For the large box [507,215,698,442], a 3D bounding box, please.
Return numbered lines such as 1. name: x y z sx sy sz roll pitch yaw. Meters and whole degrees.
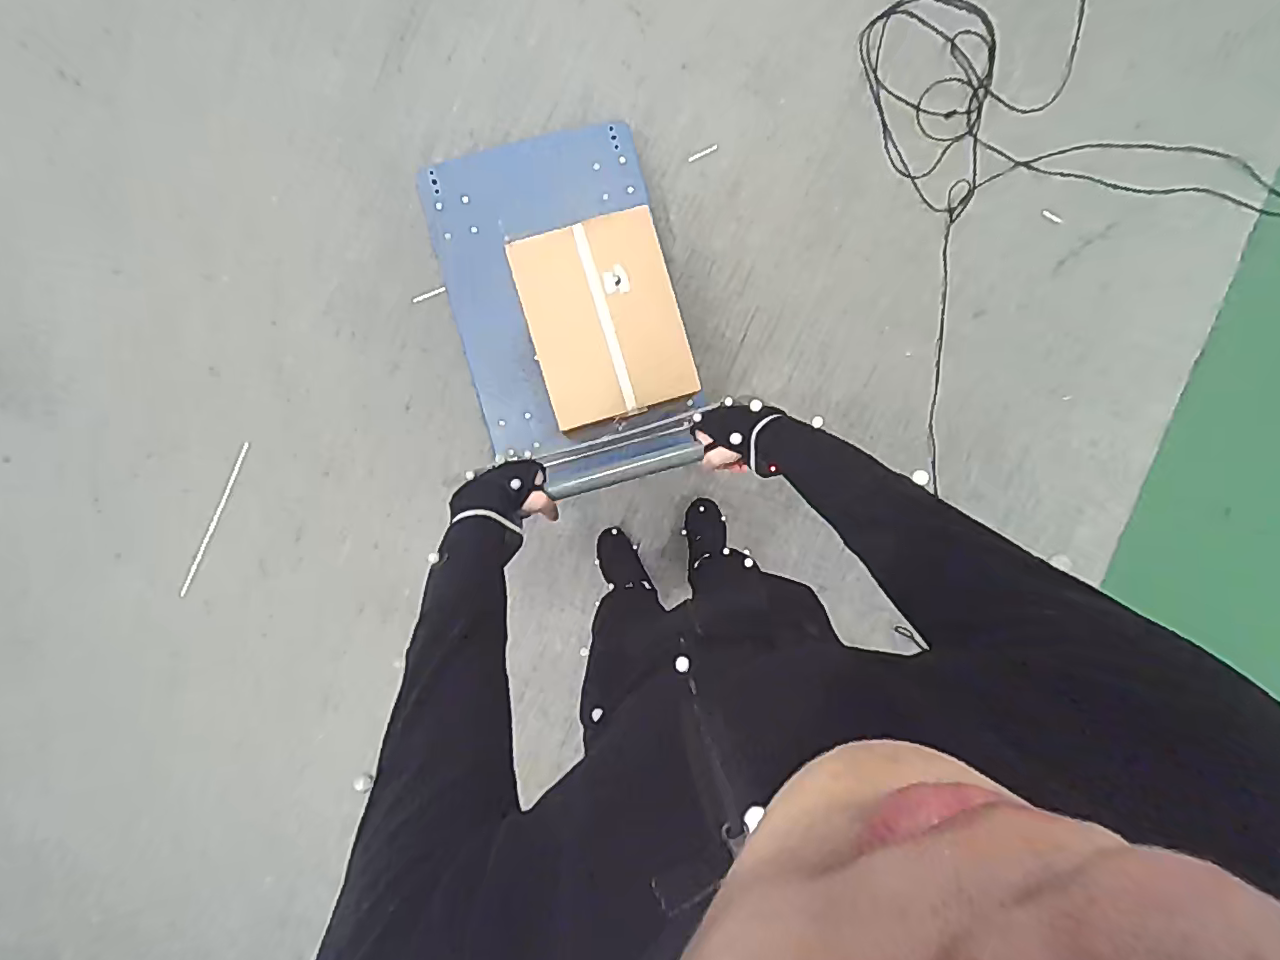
1. large box: -0.083 -0.333 1.295 0.320 0.320 0.408 -17 91 -4
